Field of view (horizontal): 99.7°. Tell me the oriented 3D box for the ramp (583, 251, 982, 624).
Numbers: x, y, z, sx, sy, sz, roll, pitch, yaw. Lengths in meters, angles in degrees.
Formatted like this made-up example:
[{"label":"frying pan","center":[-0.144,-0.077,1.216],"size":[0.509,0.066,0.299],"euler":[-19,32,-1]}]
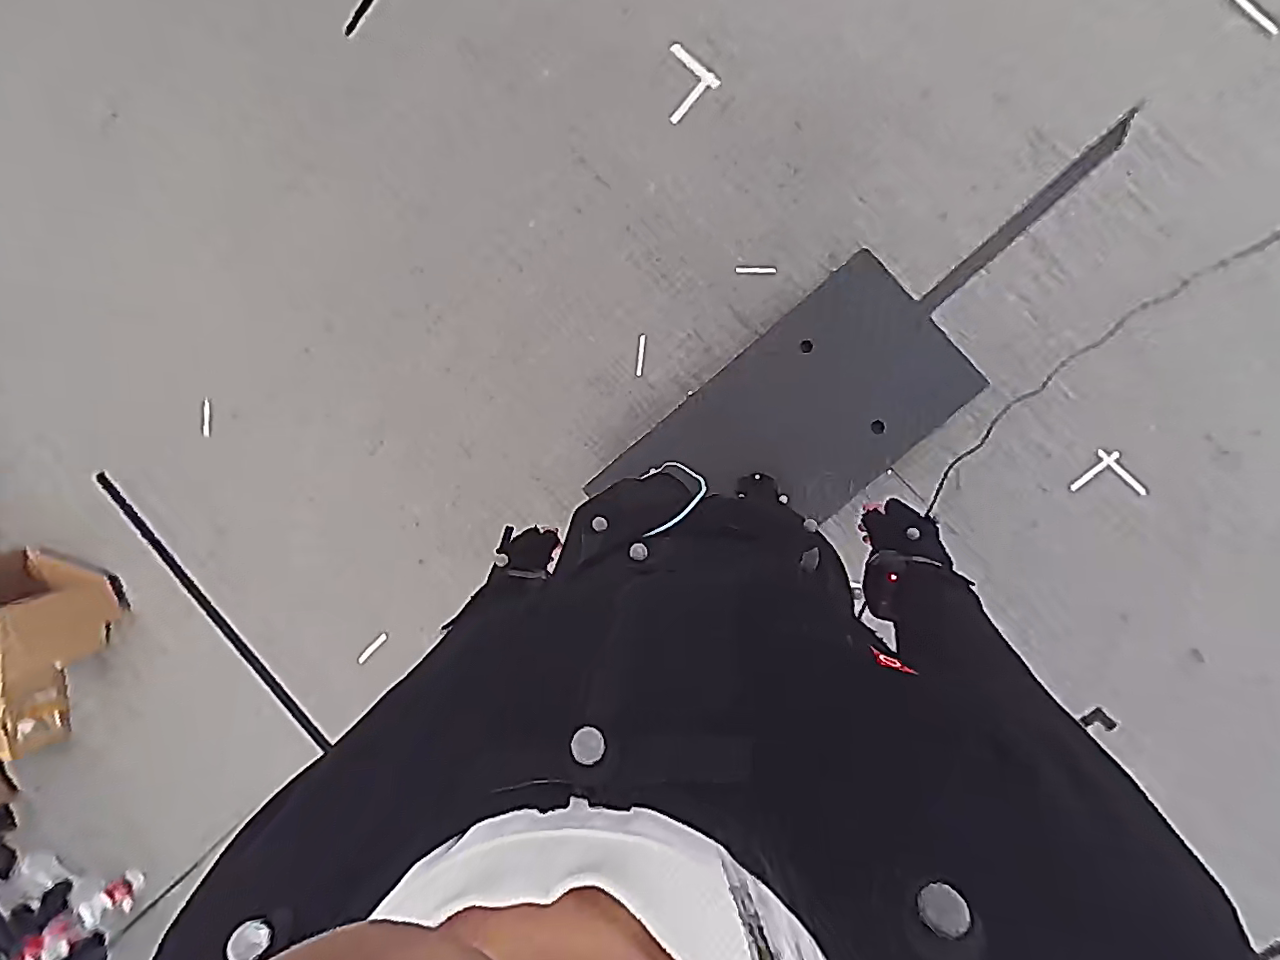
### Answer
[{"label":"ramp","center":[0.370,-0.119,1.449],"size":[0.991,0.206,0.509],"euler":[-43,85,12]}]
